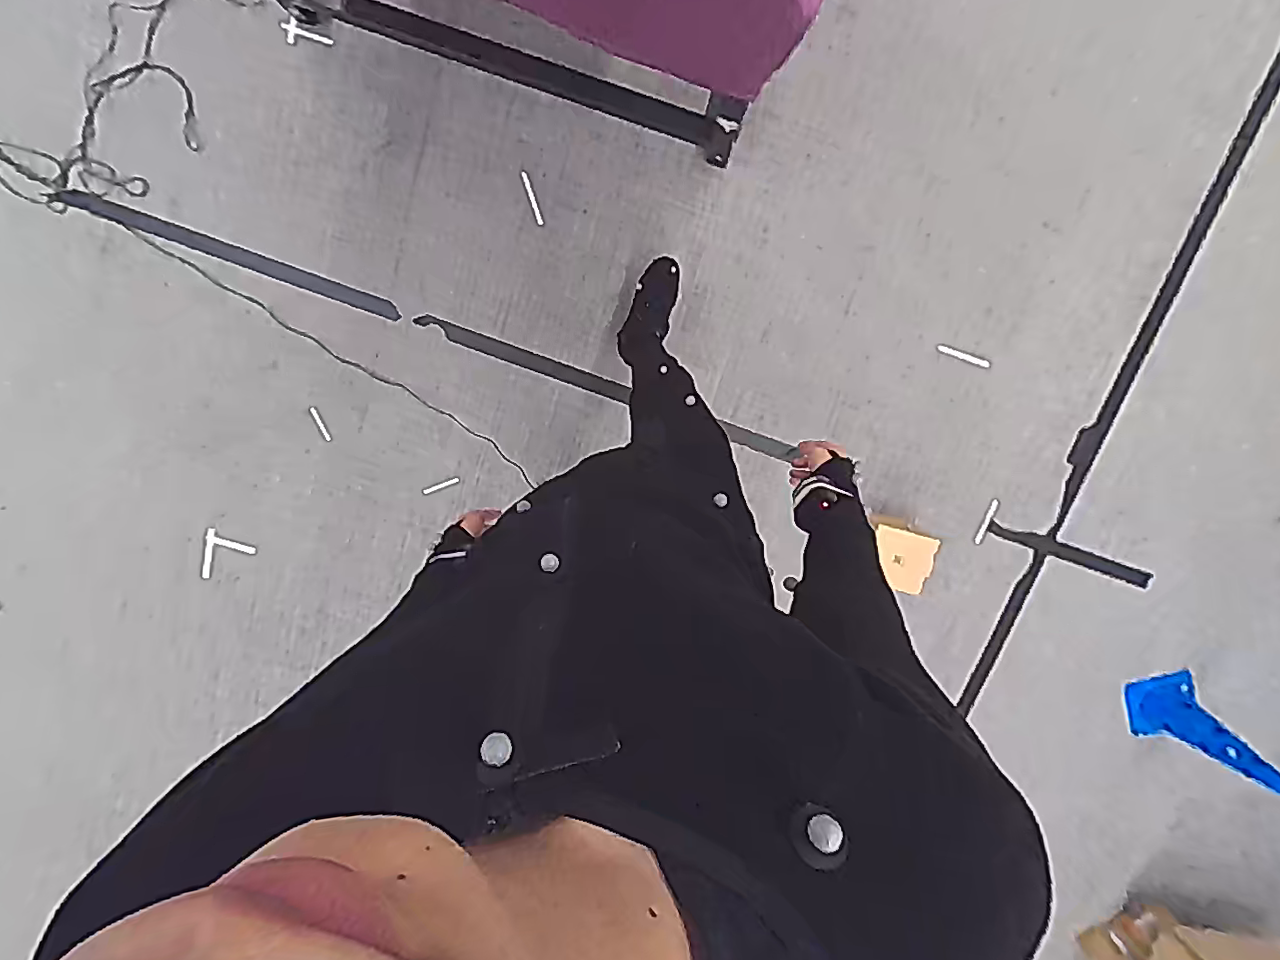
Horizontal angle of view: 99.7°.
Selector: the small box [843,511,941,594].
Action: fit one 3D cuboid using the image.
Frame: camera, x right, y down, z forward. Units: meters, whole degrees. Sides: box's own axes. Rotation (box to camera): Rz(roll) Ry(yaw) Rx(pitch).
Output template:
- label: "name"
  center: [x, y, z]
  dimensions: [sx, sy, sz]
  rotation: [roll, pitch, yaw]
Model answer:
- label: "small box"
  center: [0.707, 0.198, 1.540]
  dimensions: [0.179, 0.176, 0.168]
  rotation: [15, 102, -1]
